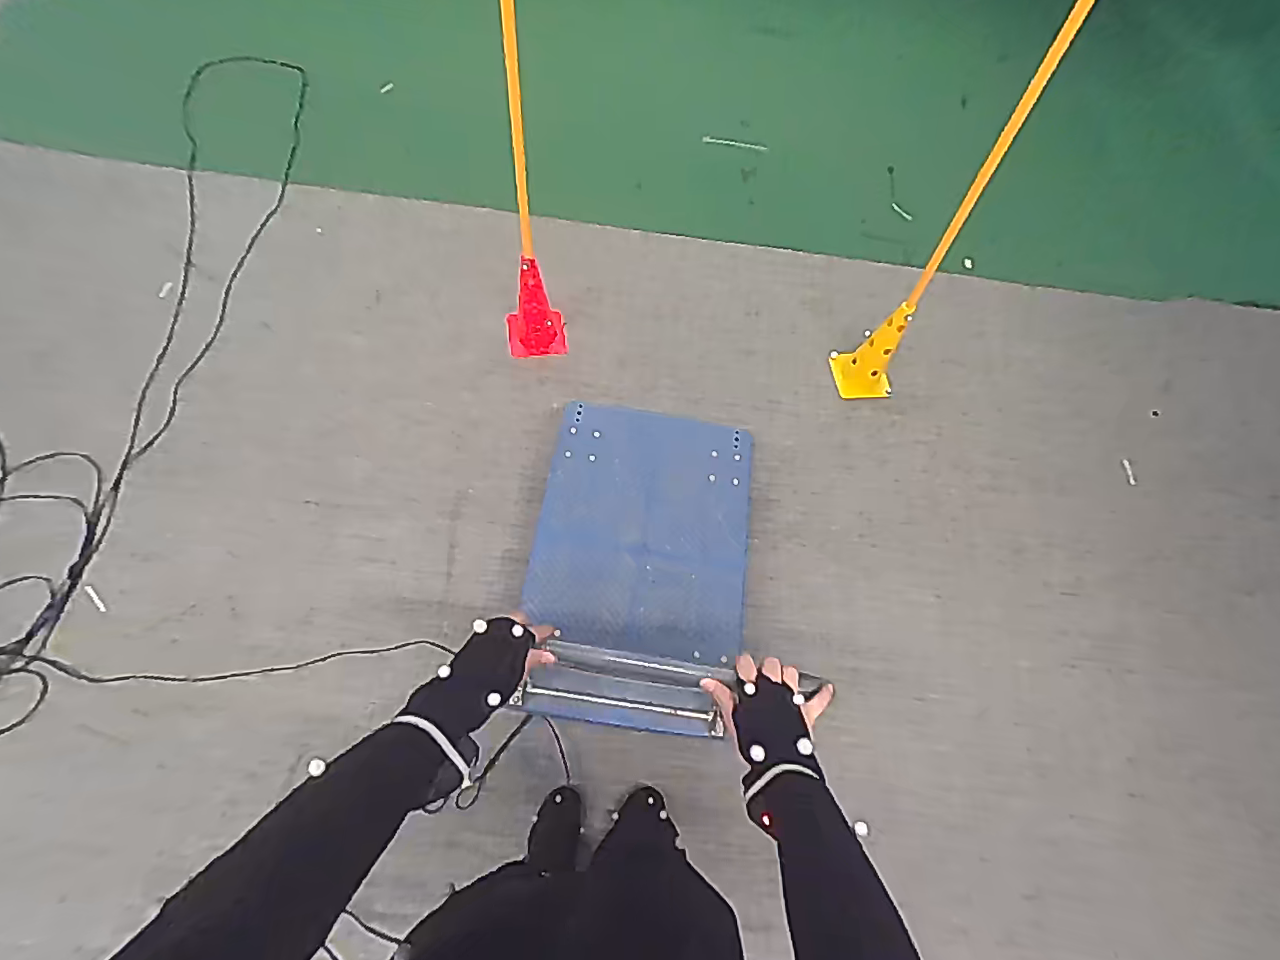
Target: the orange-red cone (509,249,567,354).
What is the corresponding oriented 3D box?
[{"bbox_3d":[-0.353,-0.604,1.777,0.199,0.360,0.198,-7,65,-7],"label":"orange-red cone"}]
